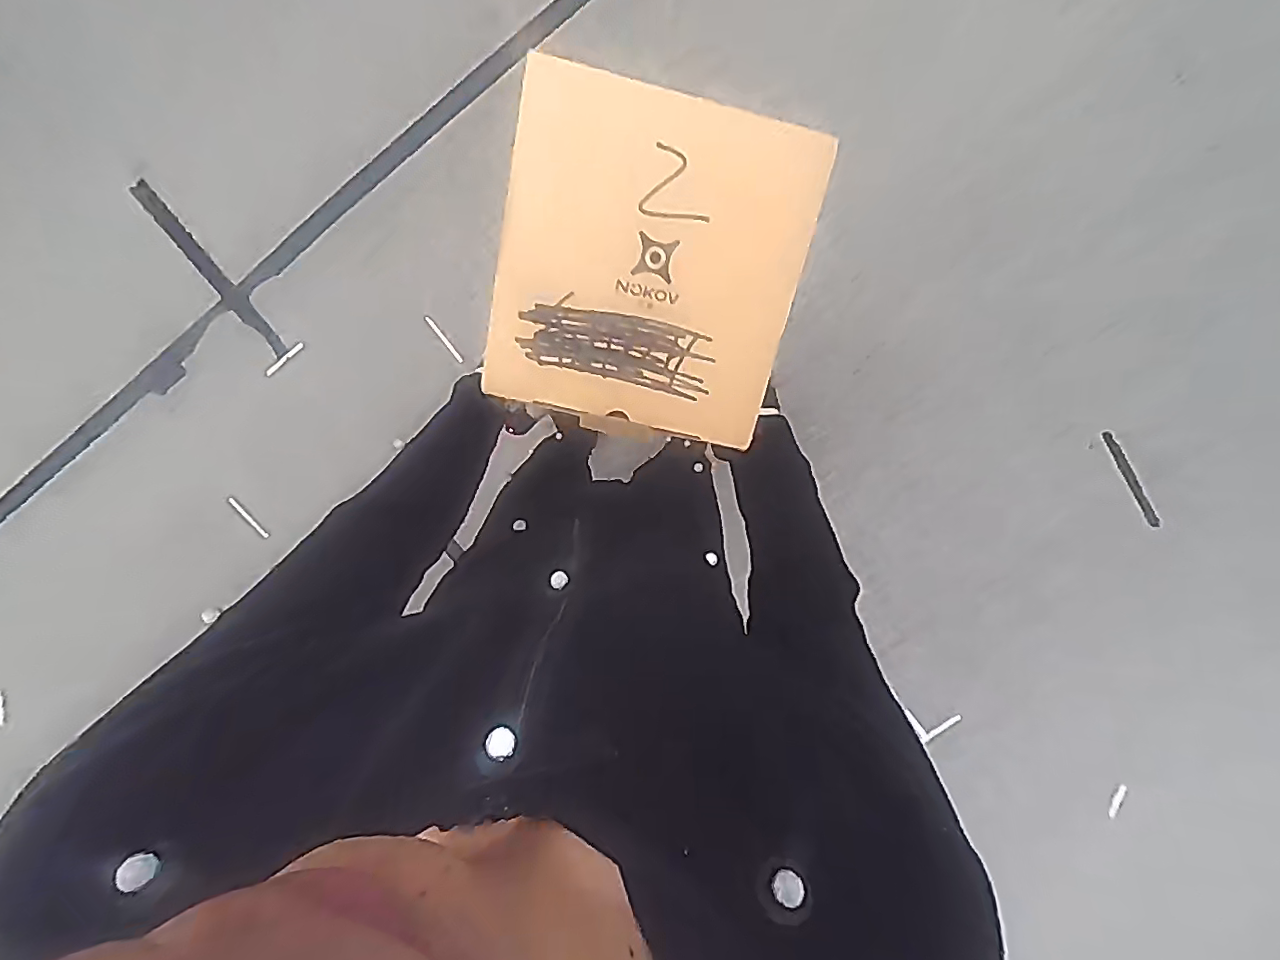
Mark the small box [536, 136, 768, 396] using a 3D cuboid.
[{"bbox_3d":[0.003,-0.196,0.528,0.168,0.176,0.179,11,108,-6],"label":"small box"}]
